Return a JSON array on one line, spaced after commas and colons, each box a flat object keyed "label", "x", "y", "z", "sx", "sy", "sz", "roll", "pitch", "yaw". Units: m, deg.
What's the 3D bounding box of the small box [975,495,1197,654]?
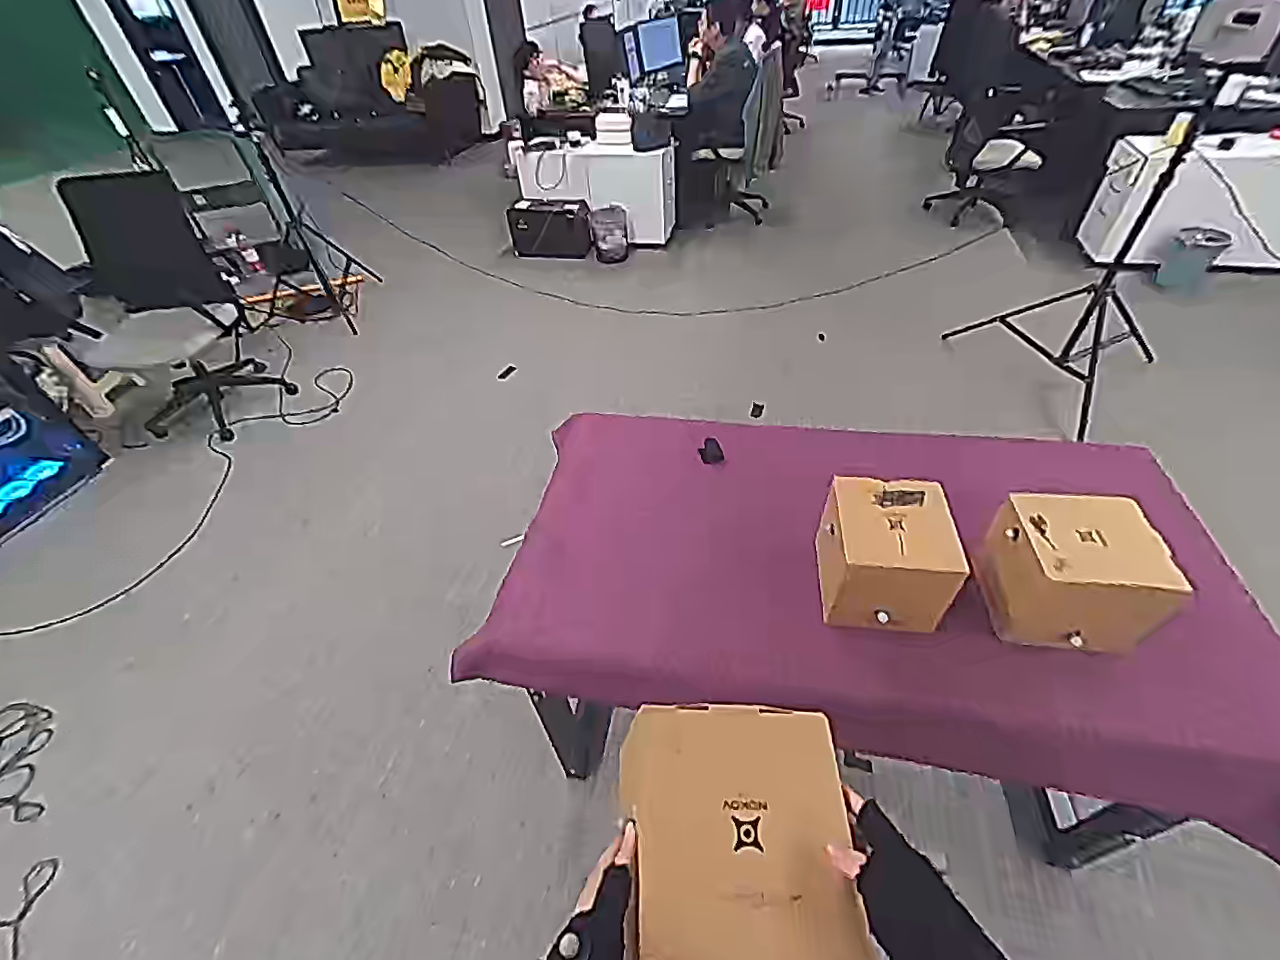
[{"label": "small box", "x": 0.647, "y": 0.145, "z": 0.815, "sx": 0.179, "sy": 0.176, "sz": 0.168, "roll": 4, "pitch": 44, "yaw": 9}]

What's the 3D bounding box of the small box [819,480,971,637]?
[{"label": "small box", "x": 0.388, "y": 0.123, "z": 0.860, "sx": 0.168, "sy": 0.176, "sz": 0.179, "roll": 3, "pitch": 45, "yaw": 9}]

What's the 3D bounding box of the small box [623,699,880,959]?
[{"label": "small box", "x": 0.073, "y": 0.307, "z": 0.472, "sx": 0.168, "sy": 0.176, "sz": 0.179, "roll": 3, "pitch": 52, "yaw": -5}]
